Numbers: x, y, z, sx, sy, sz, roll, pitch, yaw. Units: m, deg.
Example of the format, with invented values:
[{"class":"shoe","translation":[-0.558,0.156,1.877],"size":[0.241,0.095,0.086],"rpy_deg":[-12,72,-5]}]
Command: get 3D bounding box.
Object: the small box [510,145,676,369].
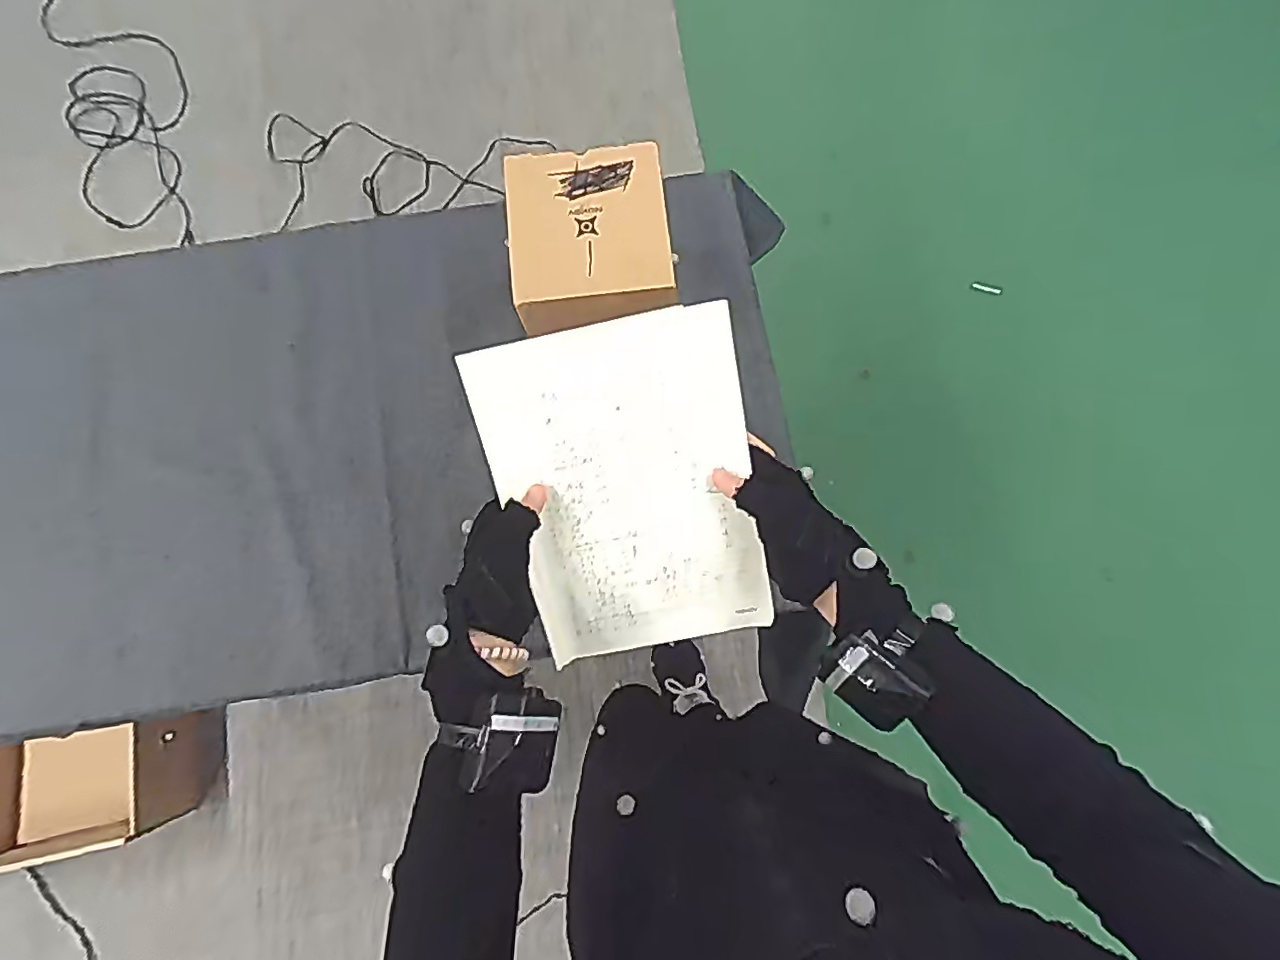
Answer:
[{"class":"small box","translation":[-0.051,-0.250,0.636],"size":[0.168,0.176,0.179],"rpy_deg":[-6,78,0]}]
